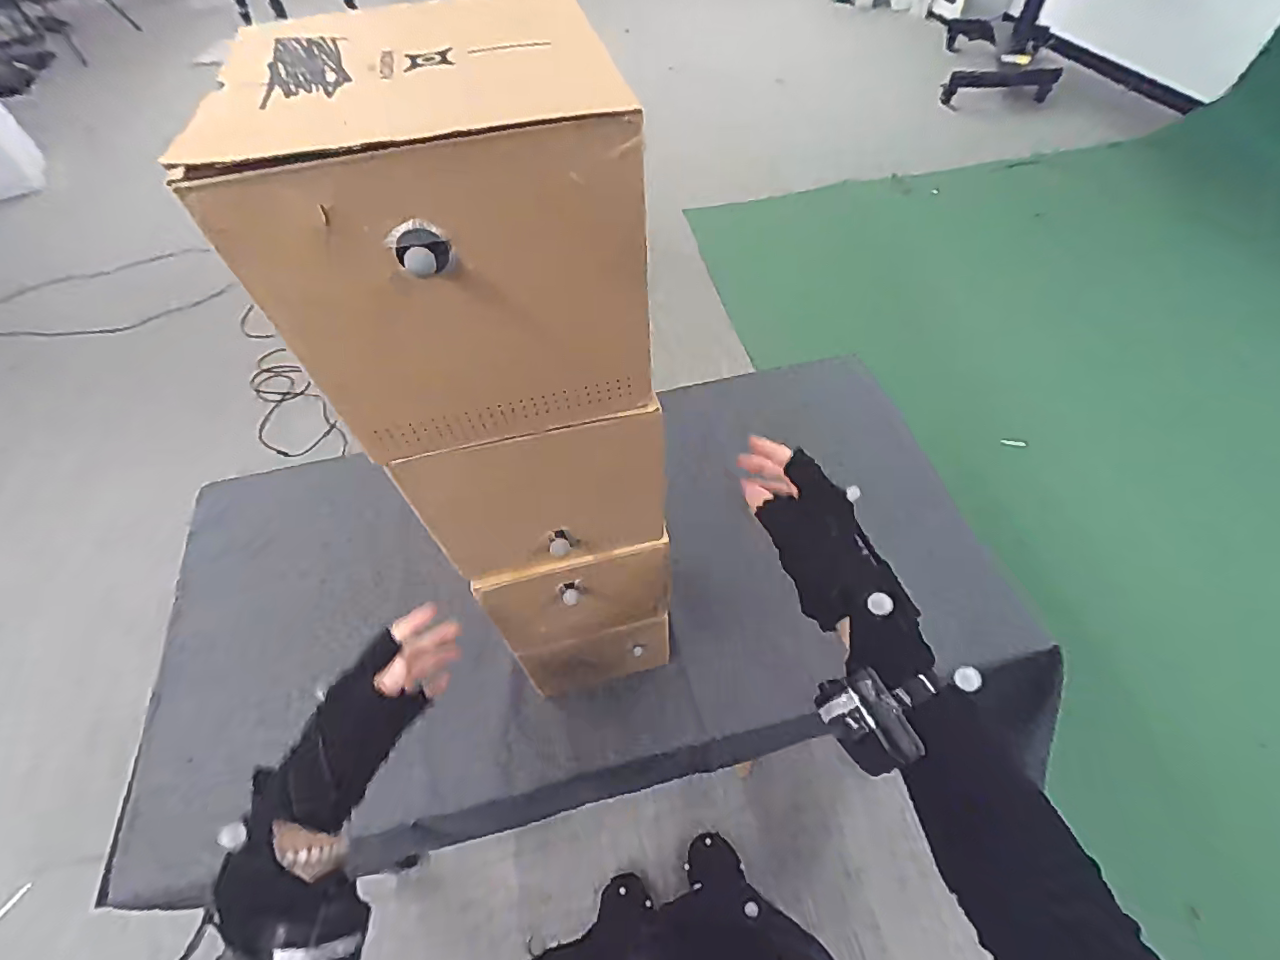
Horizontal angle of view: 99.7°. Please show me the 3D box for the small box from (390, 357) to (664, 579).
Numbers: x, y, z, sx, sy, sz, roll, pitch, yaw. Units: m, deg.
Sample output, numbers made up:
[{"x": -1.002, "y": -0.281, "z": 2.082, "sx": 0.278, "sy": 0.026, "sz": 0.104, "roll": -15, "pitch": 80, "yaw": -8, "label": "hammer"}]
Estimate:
[{"x": -0.084, "y": -0.038, "z": 0.450, "sx": 0.179, "sy": 0.176, "sz": 0.168, "roll": -11, "pitch": 54, "yaw": -6, "label": "small box"}]

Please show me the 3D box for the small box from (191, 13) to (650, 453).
[{"x": -0.098, "y": -0.136, "z": 0.319, "sx": 0.179, "sy": 0.176, "sz": 0.168, "roll": -13, "pitch": 55, "yaw": -6, "label": "small box"}]

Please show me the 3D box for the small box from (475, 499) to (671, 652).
[{"x": -0.073, "y": 0.062, "z": 0.579, "sx": 0.179, "sy": 0.176, "sz": 0.168, "roll": -14, "pitch": 54, "yaw": -7, "label": "small box"}]
